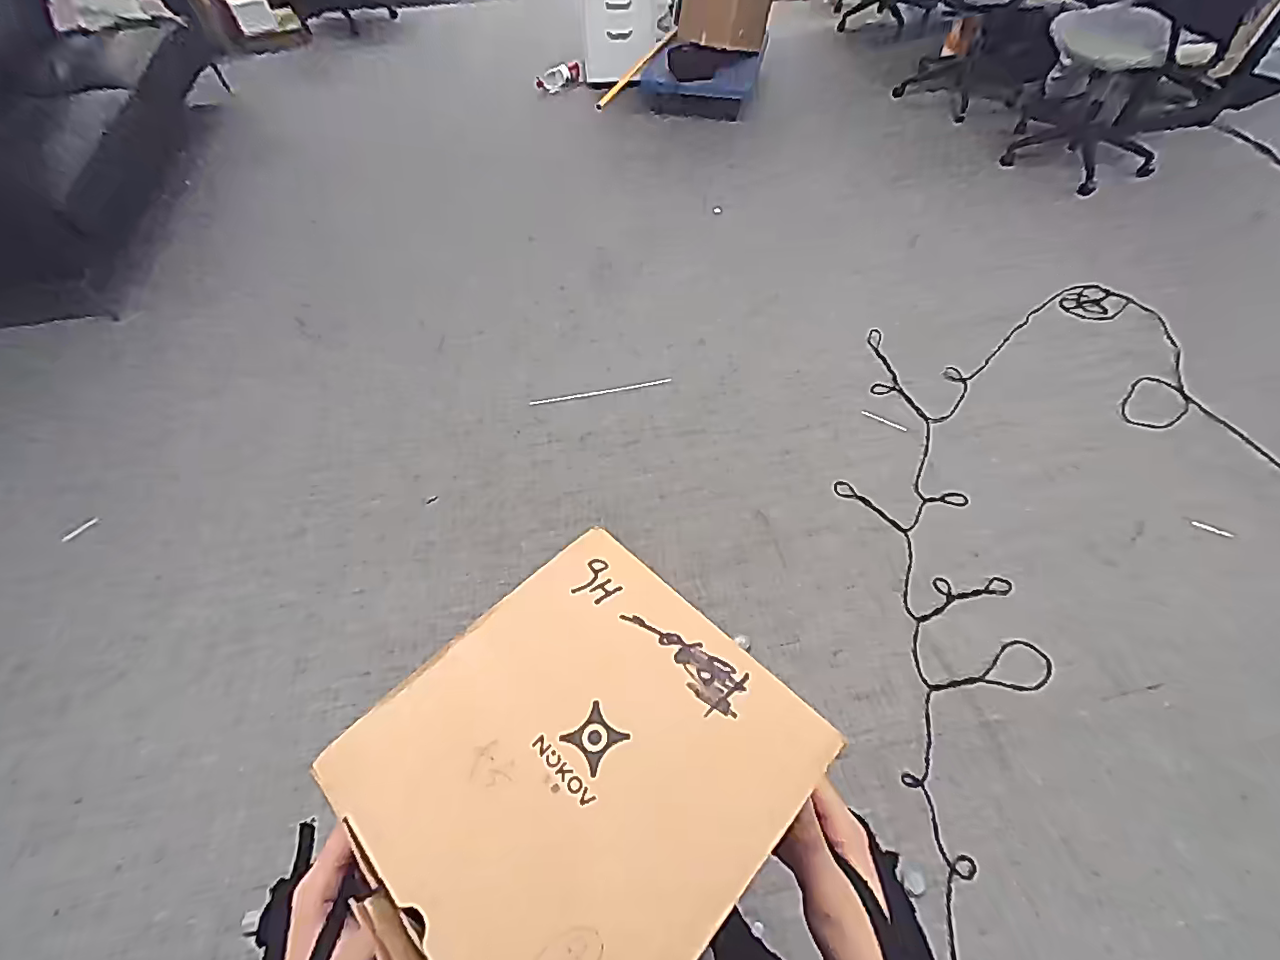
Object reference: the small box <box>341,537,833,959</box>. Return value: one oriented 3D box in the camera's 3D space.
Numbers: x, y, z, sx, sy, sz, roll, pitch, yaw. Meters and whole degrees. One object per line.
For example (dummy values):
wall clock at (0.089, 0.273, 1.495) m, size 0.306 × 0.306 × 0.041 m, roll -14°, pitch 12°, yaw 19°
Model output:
small box at (-0.022, 0.175, 0.315) m, size 0.168 × 0.176 × 0.179 m, roll 37°, pitch 61°, yaw 26°
